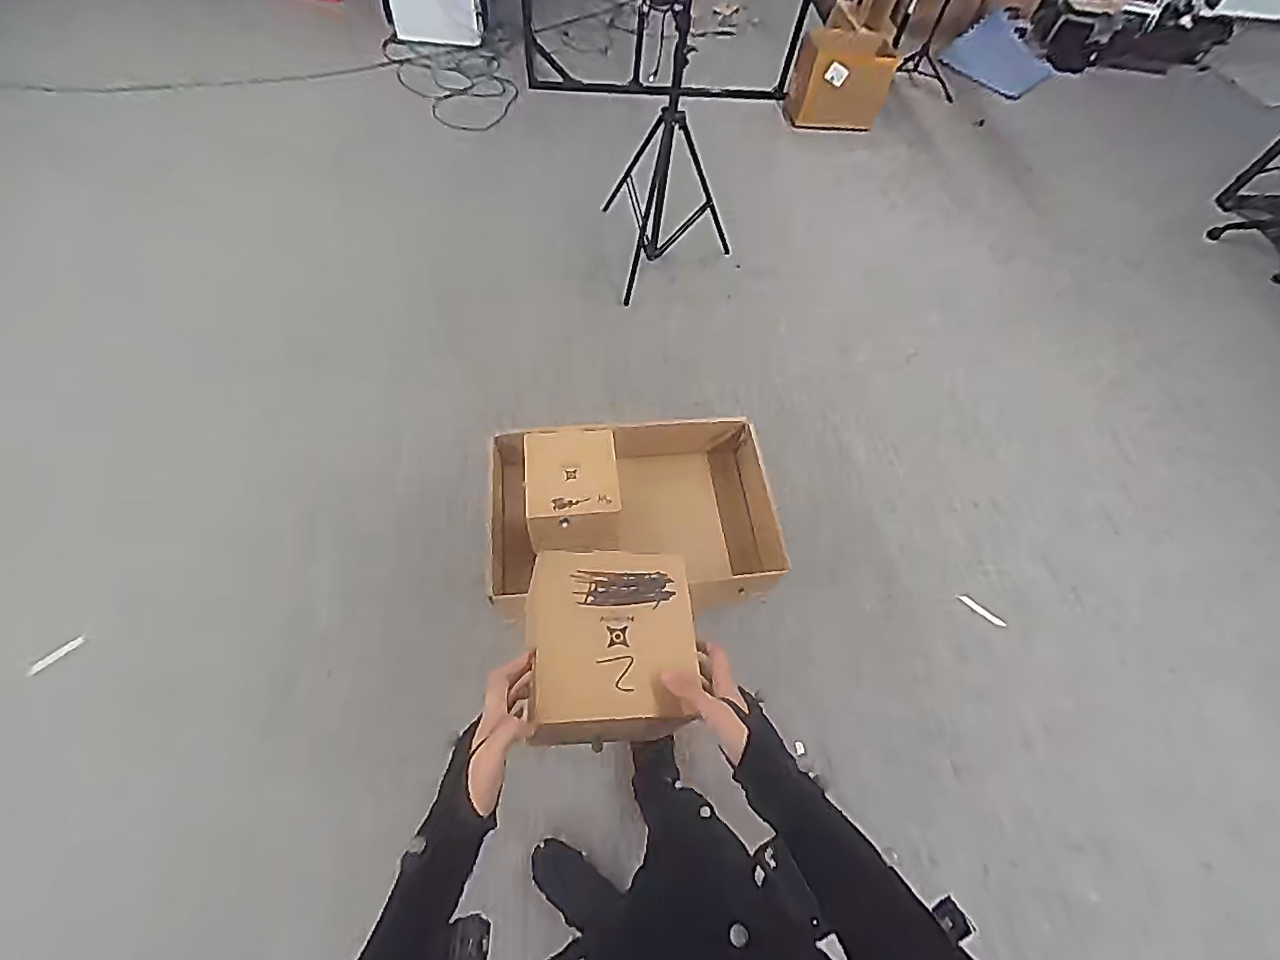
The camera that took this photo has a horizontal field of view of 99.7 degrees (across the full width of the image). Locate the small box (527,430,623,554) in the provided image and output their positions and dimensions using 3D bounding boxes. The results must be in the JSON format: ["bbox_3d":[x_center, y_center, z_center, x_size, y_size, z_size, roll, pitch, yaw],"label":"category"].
[{"bbox_3d":[-0.126,0.025,1.034,0.168,0.176,0.179,-4,60,-7],"label":"small box"}]

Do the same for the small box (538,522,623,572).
[{"bbox_3d":[-0.141,0.088,1.185,0.179,0.176,0.168,-8,61,-10],"label":"small box"}]
